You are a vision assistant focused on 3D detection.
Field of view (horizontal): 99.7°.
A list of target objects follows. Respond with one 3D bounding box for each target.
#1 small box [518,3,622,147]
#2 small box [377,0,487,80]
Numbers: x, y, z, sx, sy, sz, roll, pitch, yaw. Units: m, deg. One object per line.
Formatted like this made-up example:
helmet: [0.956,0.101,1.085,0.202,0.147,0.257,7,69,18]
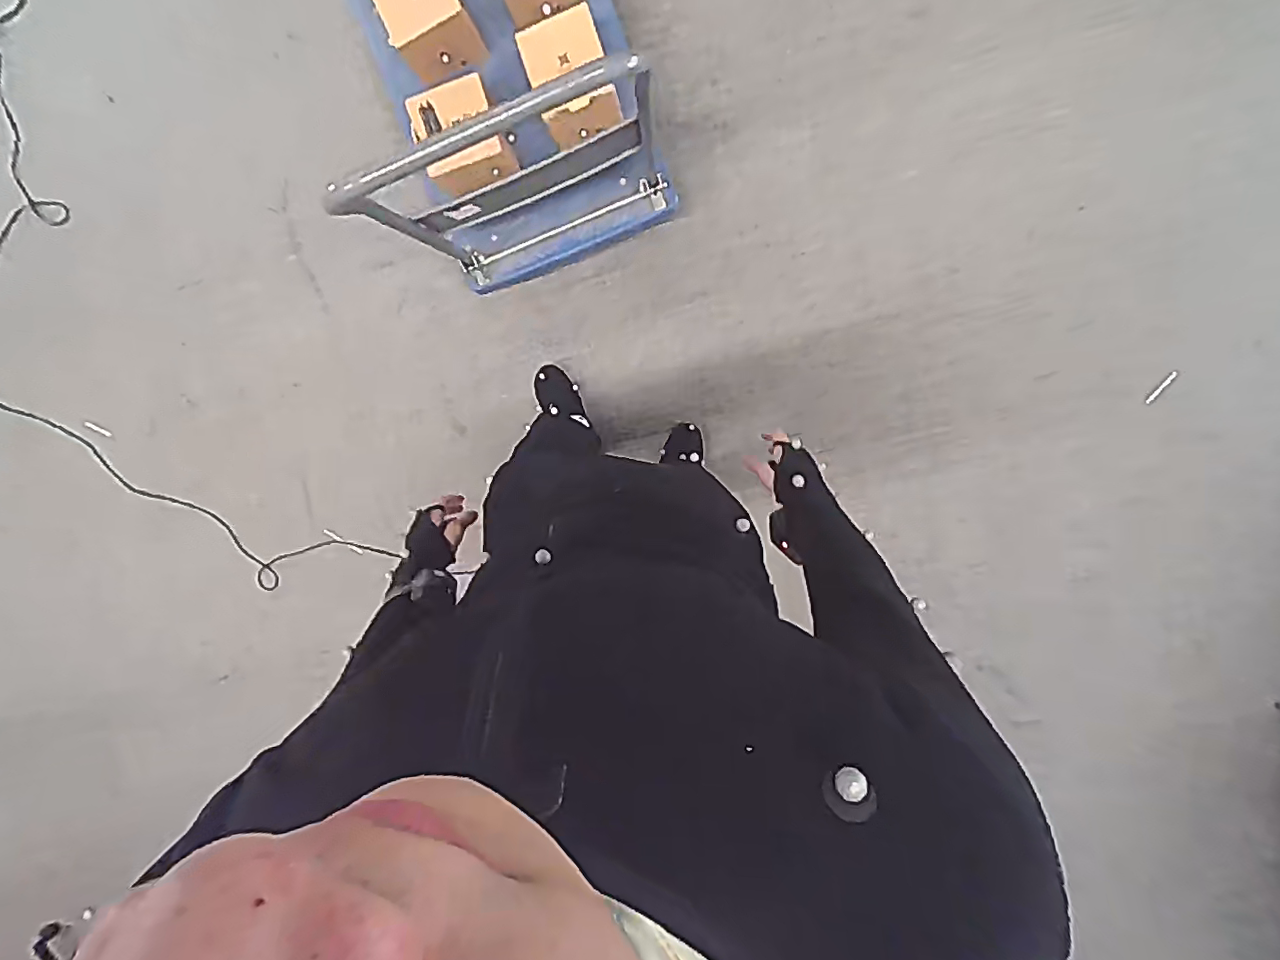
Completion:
small box: [-0.150,-0.900,1.219,0.168,0.176,0.179,-18,99,8]
small box: [-0.473,-1.052,1.219,0.168,0.176,0.179,-23,98,8]
